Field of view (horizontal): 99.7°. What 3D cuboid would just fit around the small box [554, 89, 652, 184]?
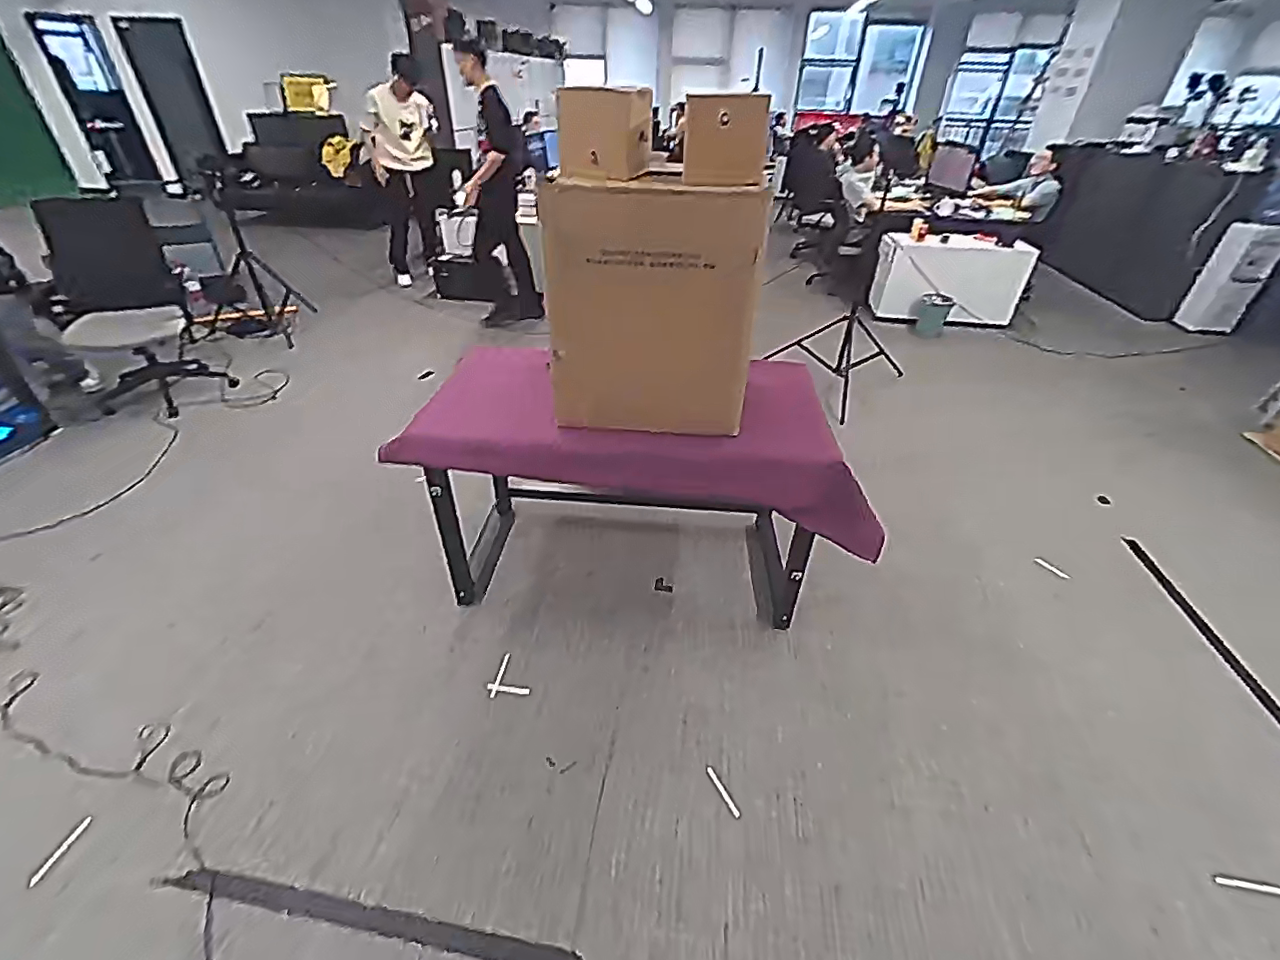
[{"bbox_3d":[-0.081,-0.795,1.254,0.179,0.176,0.168,14,39,14],"label":"small box"}]

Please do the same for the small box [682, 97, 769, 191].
[{"bbox_3d":[0.183,-0.754,1.213,0.179,0.176,0.168,2,37,2],"label":"small box"}]
